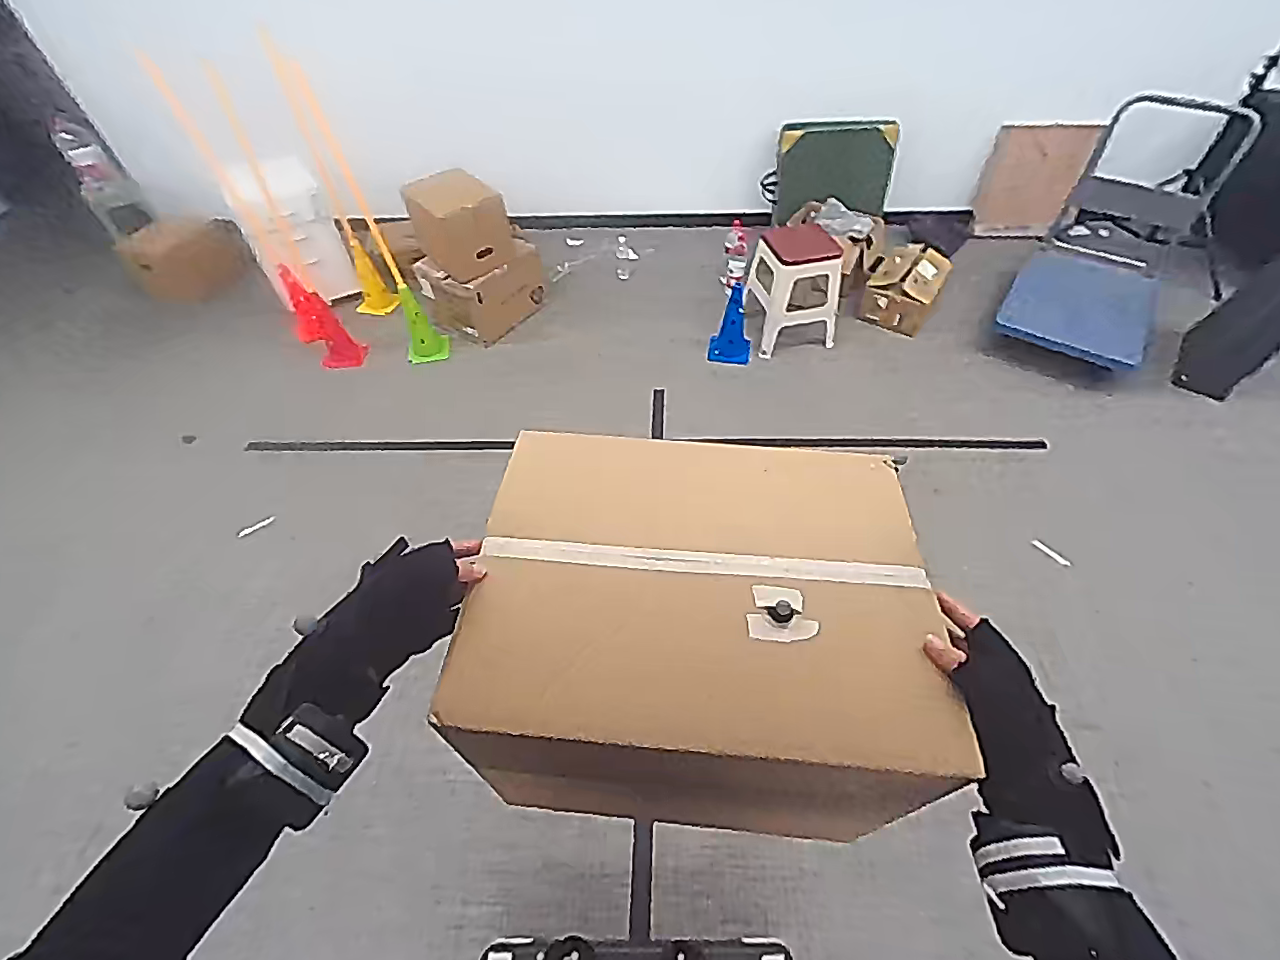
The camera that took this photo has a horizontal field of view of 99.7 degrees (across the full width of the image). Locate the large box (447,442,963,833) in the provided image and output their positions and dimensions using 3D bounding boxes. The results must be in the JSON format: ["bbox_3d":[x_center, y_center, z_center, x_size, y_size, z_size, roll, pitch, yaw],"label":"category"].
[{"bbox_3d":[0.054,0.182,0.618,0.408,0.320,0.320,5,50,3],"label":"large box"}]

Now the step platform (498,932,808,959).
[{"bbox_3d":[0.026,1.119,1.113,0.684,0.204,0.286,0,50,0],"label":"step platform"}]
